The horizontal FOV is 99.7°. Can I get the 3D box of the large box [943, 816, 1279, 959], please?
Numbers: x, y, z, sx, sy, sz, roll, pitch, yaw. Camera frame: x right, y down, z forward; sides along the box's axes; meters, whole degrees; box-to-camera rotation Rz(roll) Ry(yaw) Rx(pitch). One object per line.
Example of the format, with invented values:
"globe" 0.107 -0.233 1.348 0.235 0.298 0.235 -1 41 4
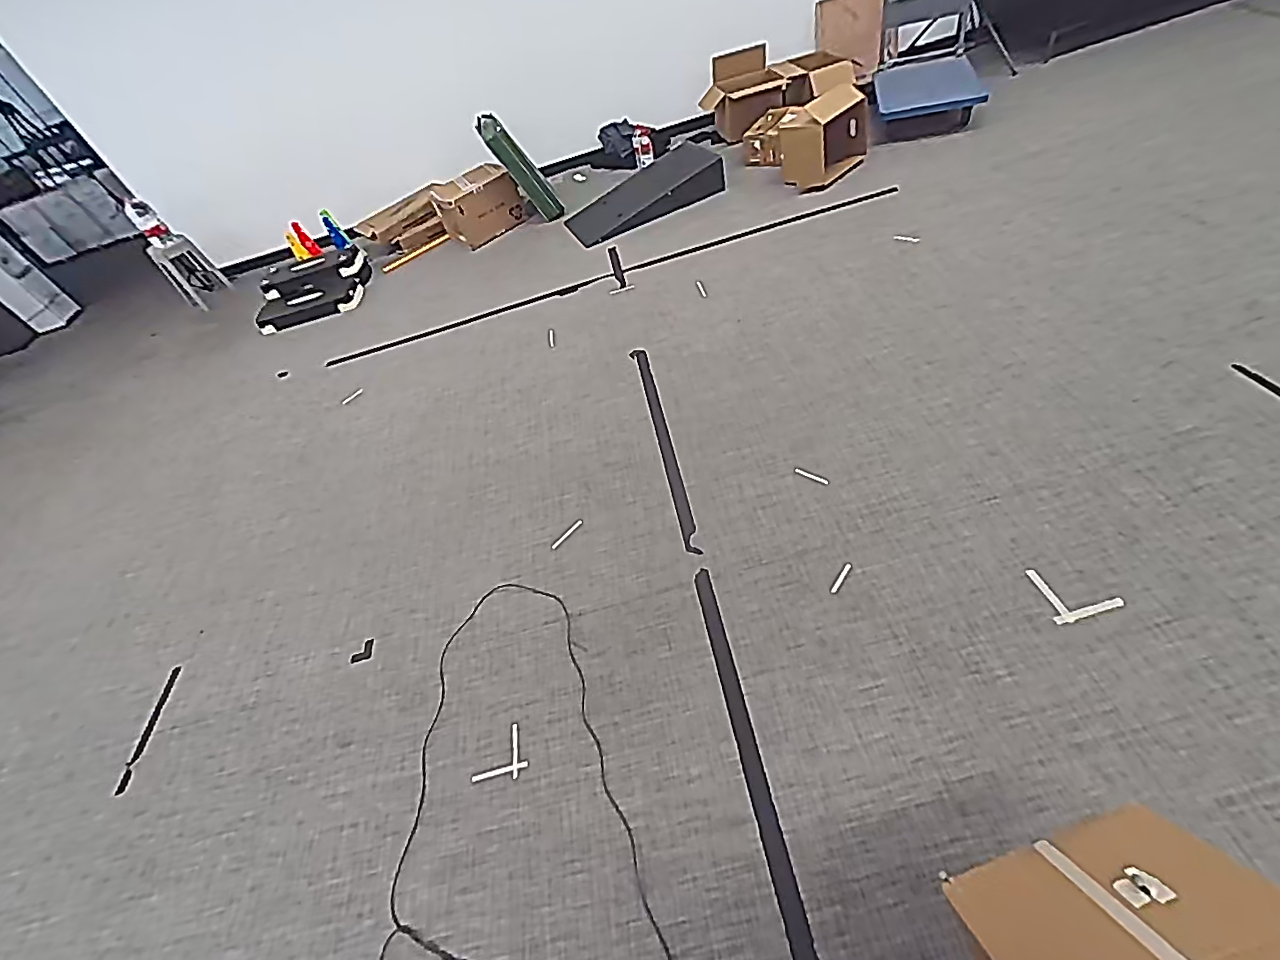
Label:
"large box" 0.629 0.661 0.576 0.320 0.408 0.320 -23 81 2
